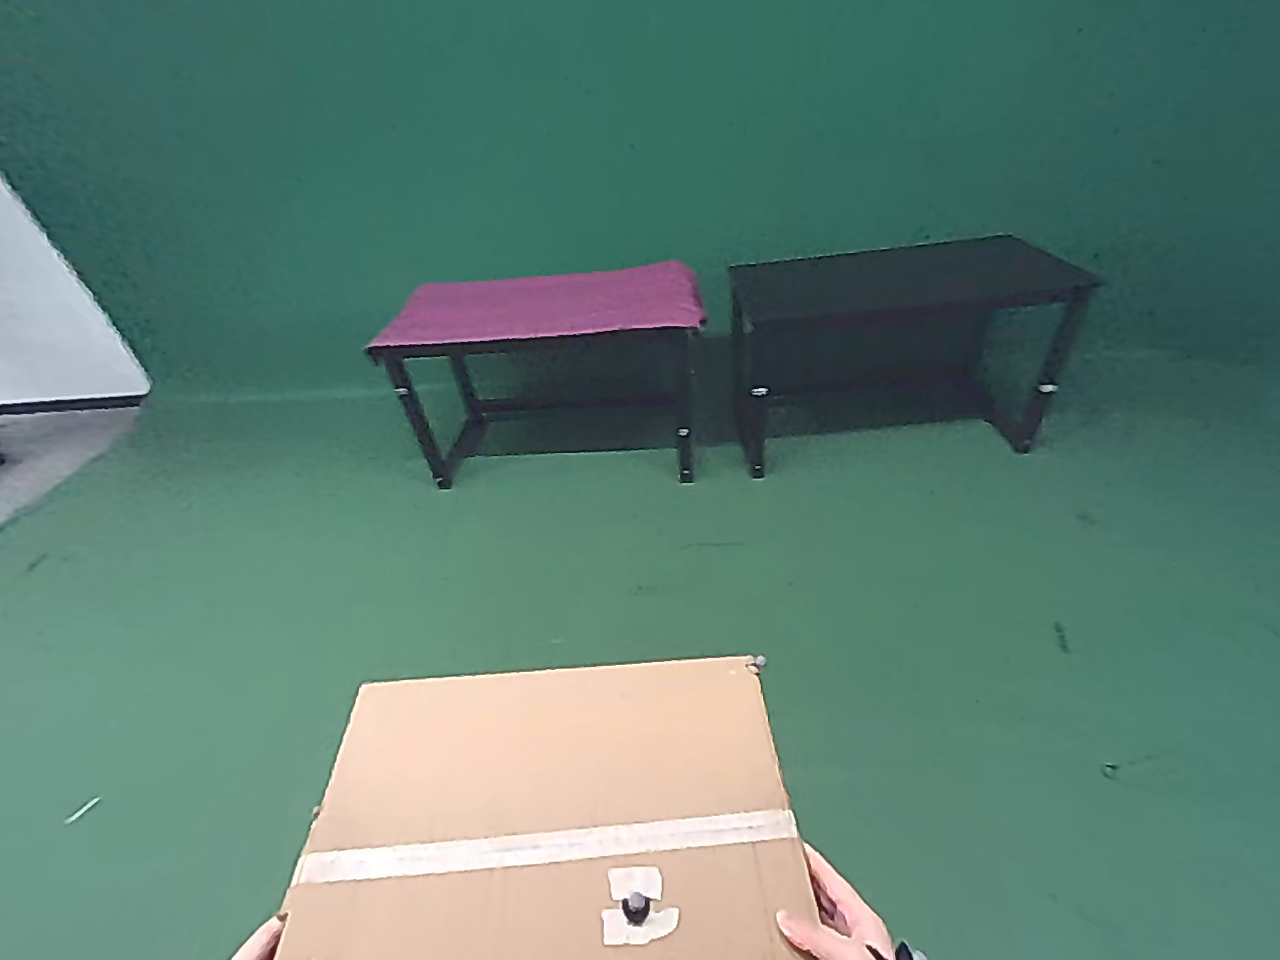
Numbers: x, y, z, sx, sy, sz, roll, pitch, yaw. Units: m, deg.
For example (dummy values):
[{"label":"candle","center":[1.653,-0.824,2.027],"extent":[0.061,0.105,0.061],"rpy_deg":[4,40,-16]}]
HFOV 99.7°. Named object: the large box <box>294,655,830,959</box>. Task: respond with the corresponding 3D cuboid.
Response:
[{"label":"large box","center":[-0.066,0.411,0.560],"extent":[0.408,0.320,0.320],"rpy_deg":[-2,44,-3]}]
